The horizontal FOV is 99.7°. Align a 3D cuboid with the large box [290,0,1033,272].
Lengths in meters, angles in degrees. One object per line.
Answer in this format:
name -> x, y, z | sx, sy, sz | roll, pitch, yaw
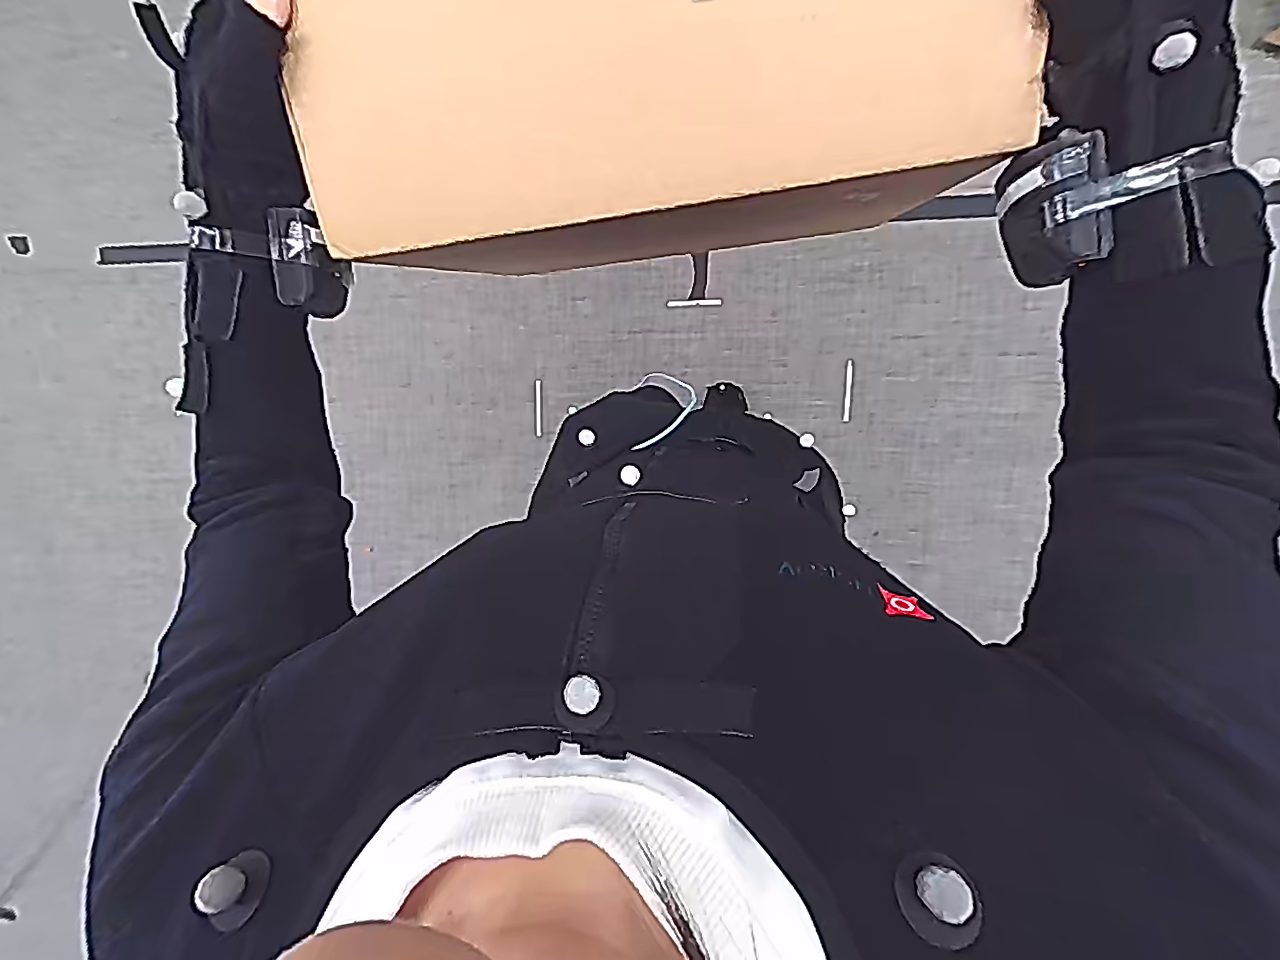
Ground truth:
large box -> 0.009, -0.359, 0.415 | 0.408, 0.320, 0.320 | -5, 108, 10
